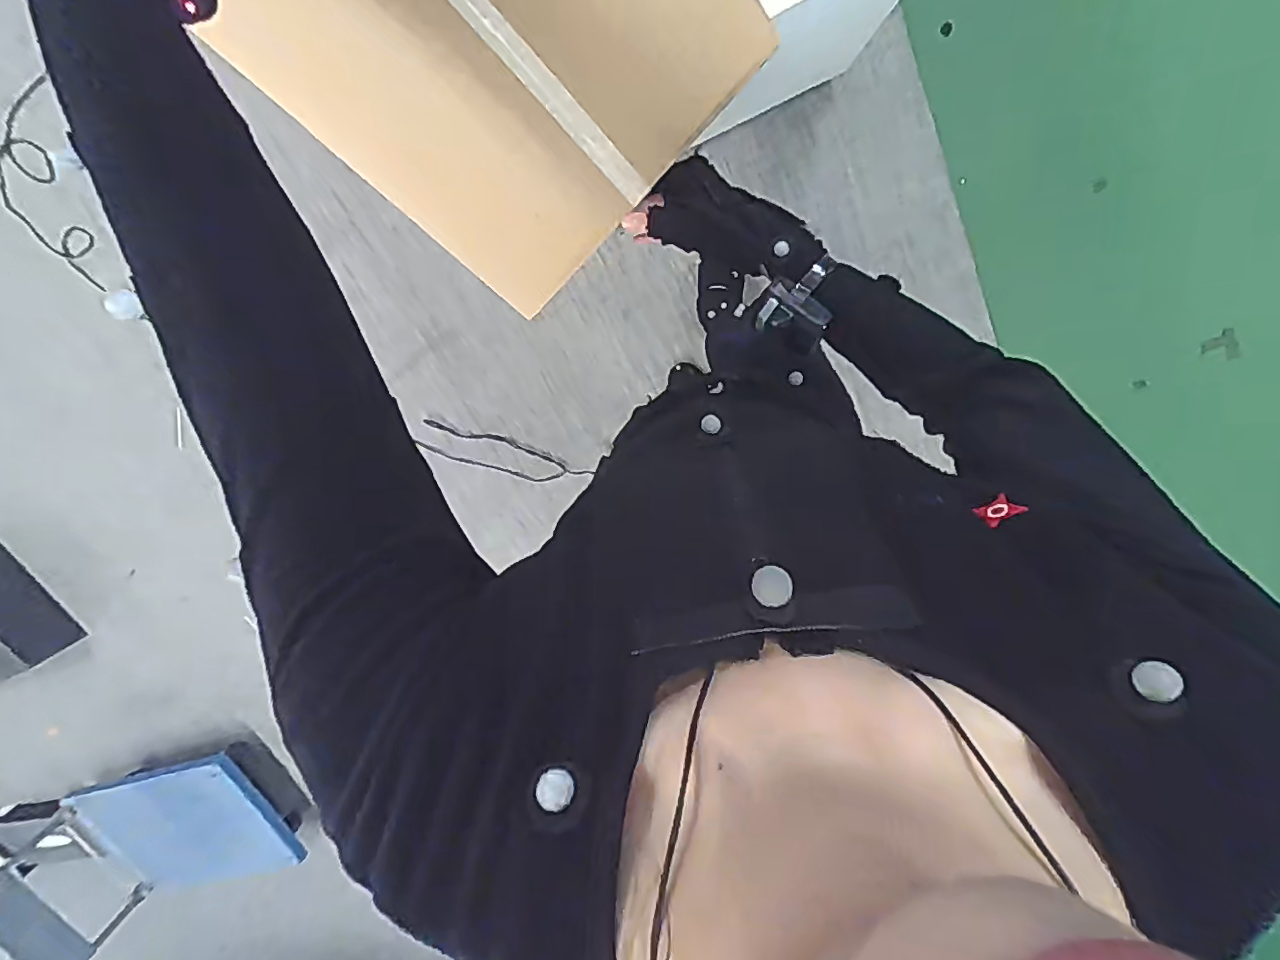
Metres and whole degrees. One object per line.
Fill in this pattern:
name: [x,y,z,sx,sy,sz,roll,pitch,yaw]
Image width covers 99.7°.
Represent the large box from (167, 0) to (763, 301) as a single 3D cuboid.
large box: [-0.153,-0.457,0.513,0.320,0.320,0.408,-40,119,22]
